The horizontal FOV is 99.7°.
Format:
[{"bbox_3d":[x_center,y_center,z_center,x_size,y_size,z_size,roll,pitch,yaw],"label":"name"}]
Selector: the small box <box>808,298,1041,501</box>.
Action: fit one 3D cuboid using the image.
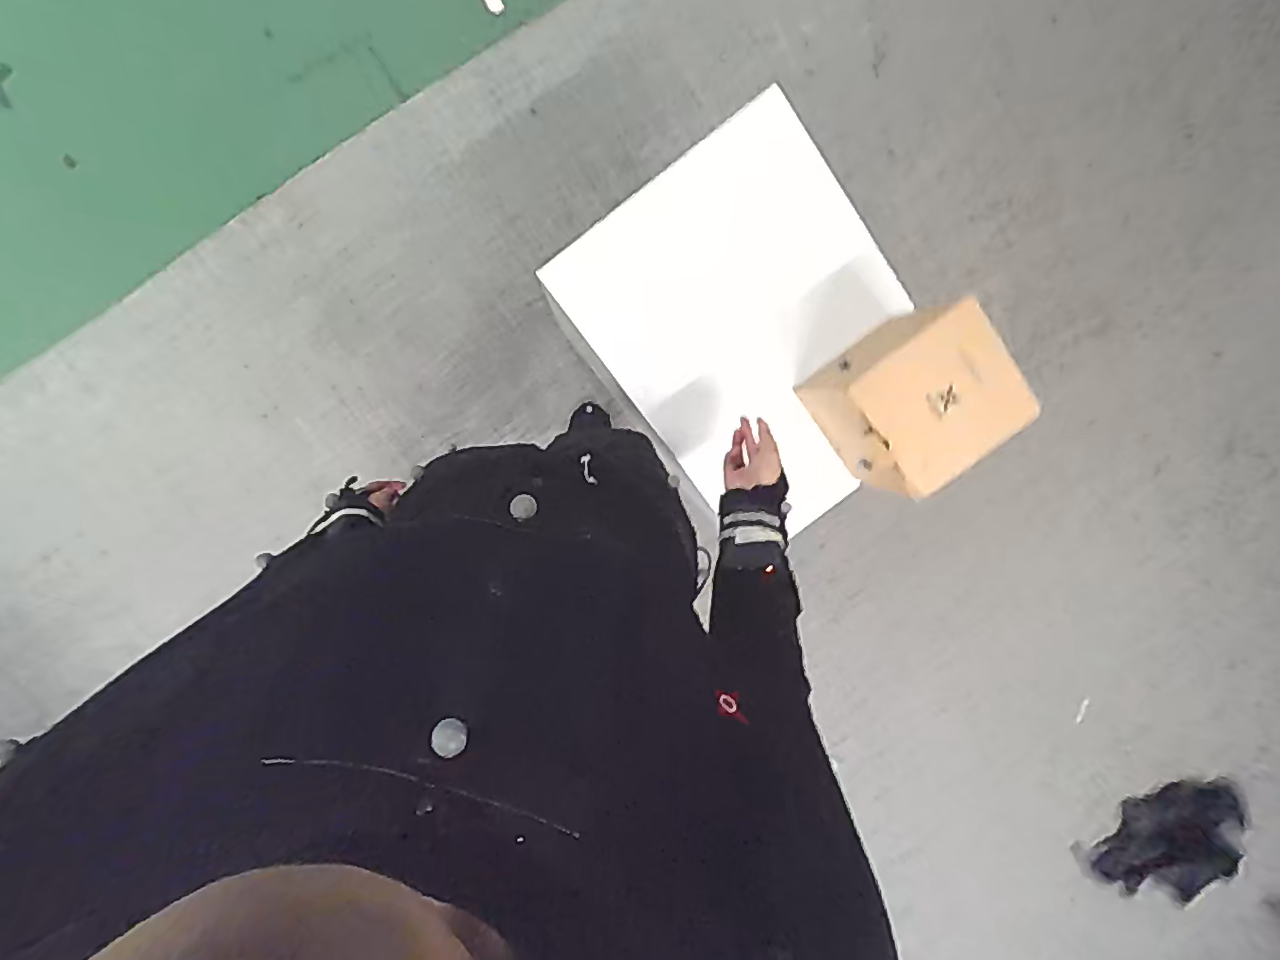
[{"bbox_3d":[0.340,-0.098,0.688,0.179,0.176,0.168,-37,100,0],"label":"small box"}]
